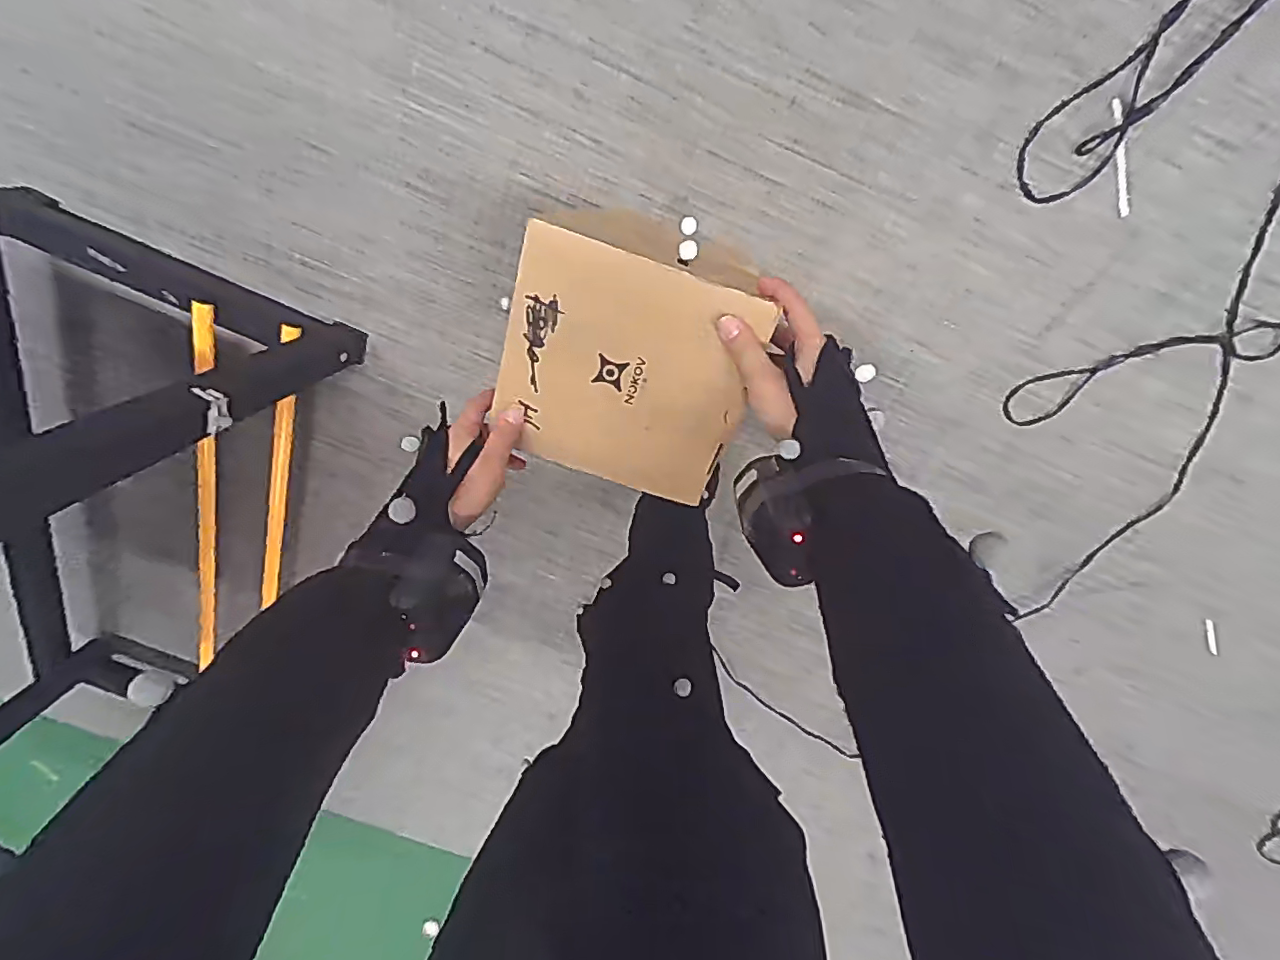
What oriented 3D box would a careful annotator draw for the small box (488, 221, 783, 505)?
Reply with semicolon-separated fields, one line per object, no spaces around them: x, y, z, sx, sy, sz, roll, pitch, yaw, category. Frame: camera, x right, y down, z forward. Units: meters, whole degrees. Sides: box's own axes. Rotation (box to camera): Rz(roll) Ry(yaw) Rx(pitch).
-0.005;-0.109;0.460;0.179;0.176;0.168;18;116;-5;small box

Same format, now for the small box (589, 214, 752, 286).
0.013;-0.180;0.607;0.168;0.176;0.179;19;117;-3;small box
